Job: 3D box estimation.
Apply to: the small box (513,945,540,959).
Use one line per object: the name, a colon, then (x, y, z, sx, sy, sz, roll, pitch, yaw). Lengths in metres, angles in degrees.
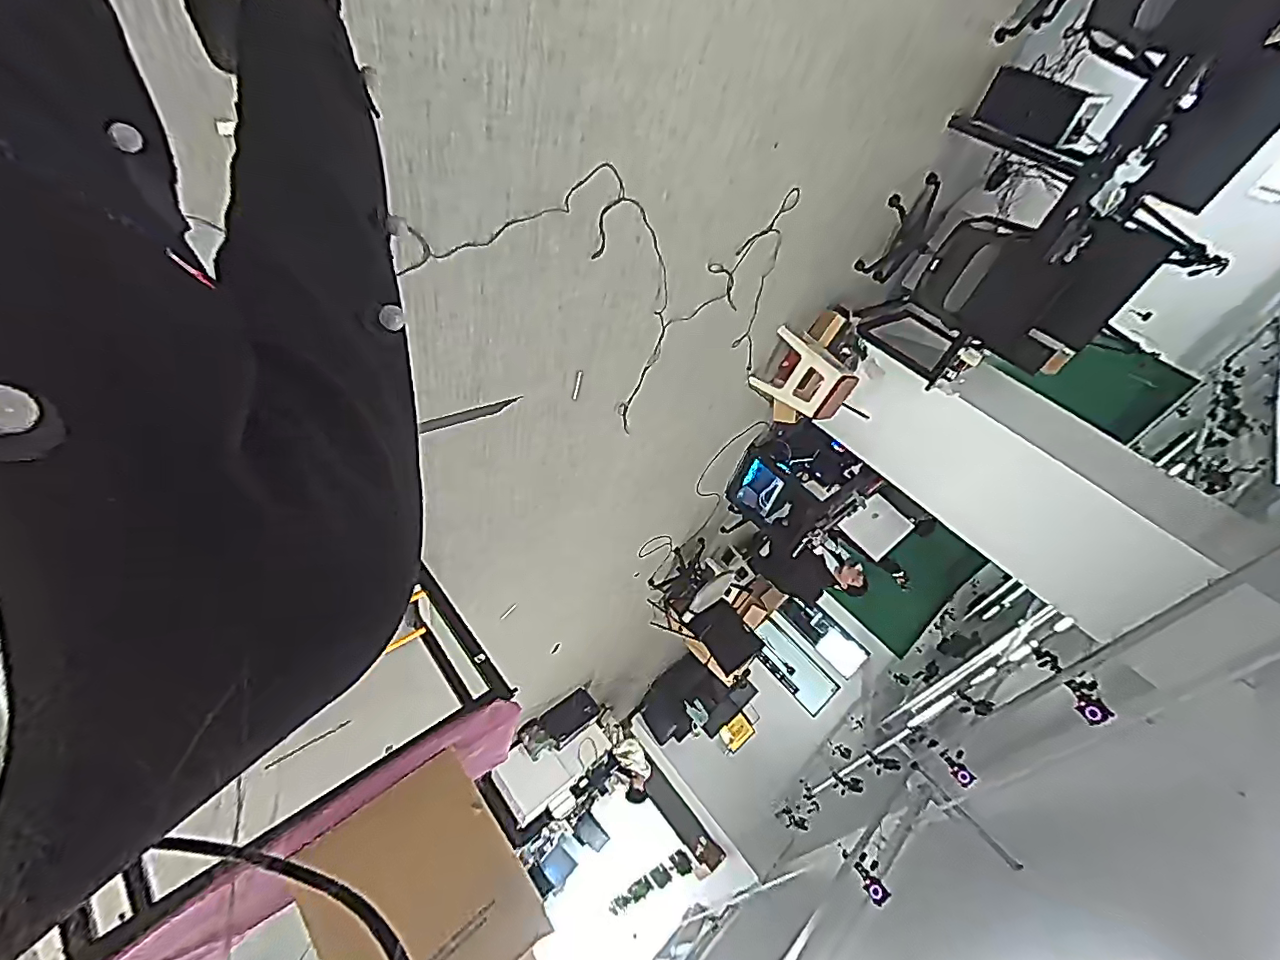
small box: (-0.363, 1.567, 1.640, 0.168, 0.176, 0.179, -23, 148, -38)
